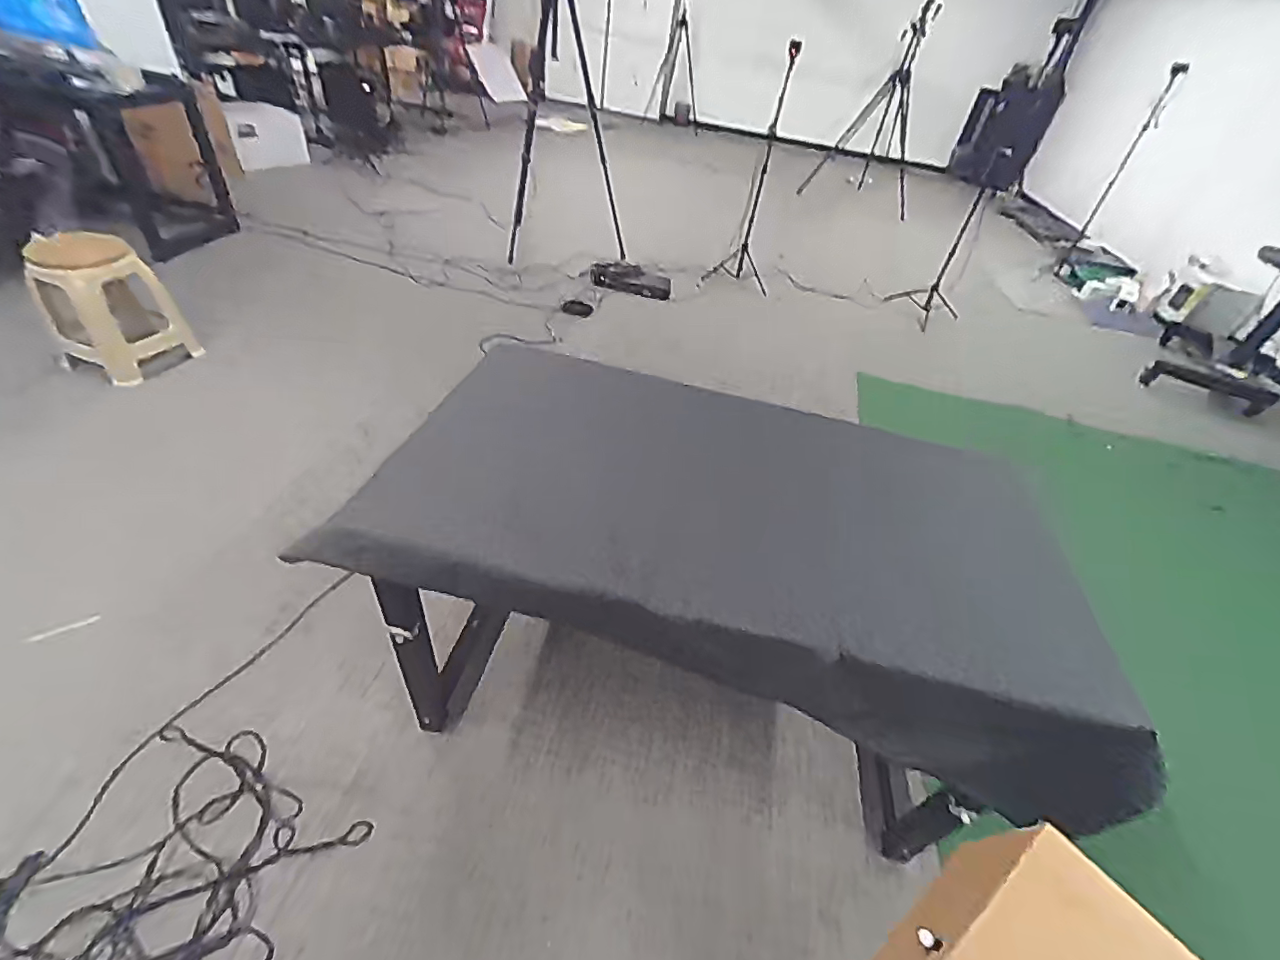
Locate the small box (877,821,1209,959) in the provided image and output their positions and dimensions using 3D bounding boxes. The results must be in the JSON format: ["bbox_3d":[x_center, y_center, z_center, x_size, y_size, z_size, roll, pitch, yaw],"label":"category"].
[{"bbox_3d":[0.322,0.416,0.435,0.179,0.176,0.168,-35,57,-19],"label":"small box"}]
